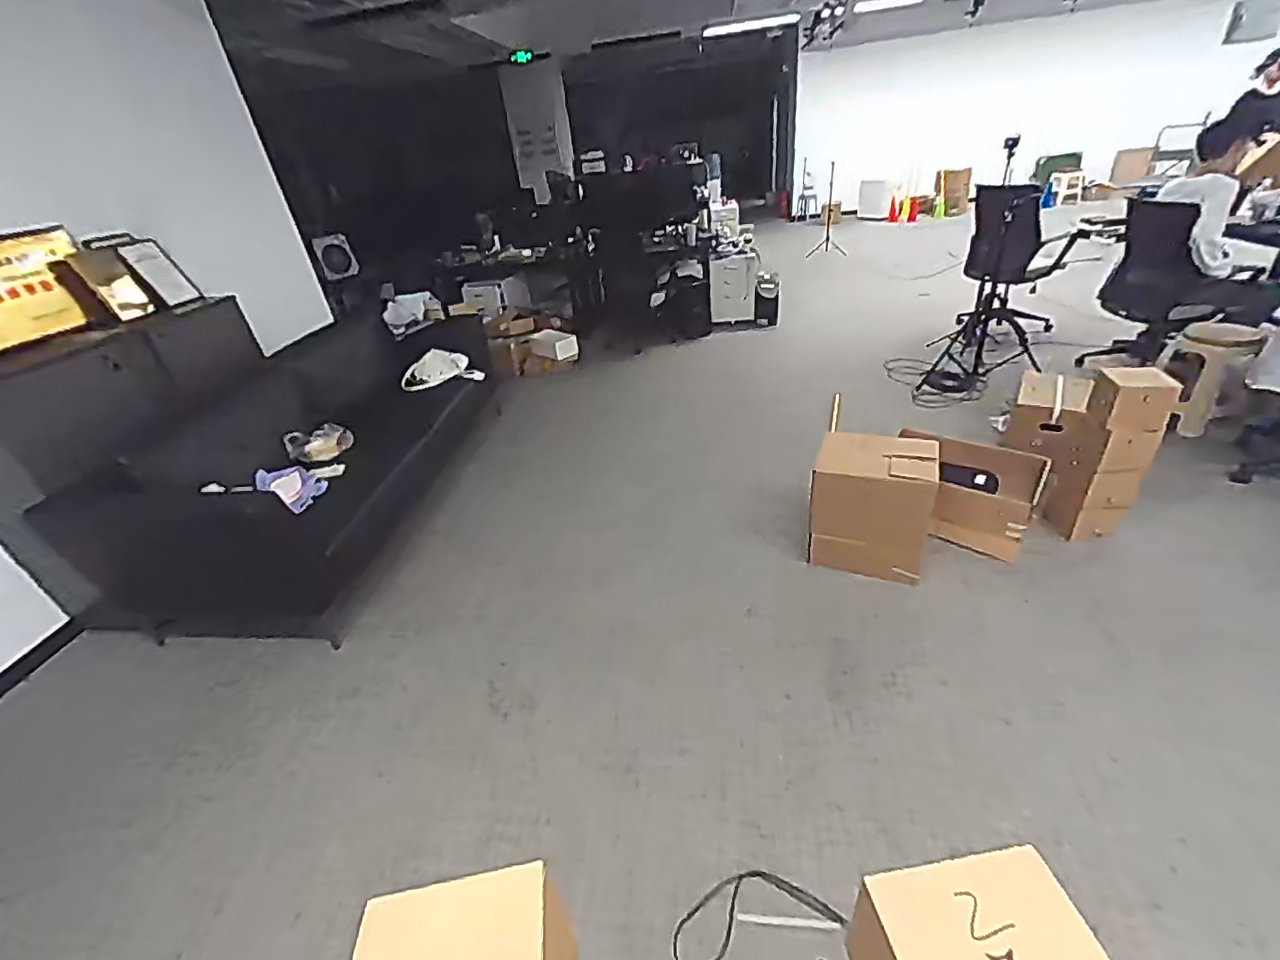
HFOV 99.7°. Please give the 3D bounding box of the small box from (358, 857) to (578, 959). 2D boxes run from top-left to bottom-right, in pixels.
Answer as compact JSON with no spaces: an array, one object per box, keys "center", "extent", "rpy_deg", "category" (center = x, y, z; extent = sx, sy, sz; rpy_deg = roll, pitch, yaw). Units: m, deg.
[{"center":[-0.145,0.479,0.471],"extent":[0.168,0.176,0.179],"rpy_deg":[-10,30,-4],"category":"small box"}]
